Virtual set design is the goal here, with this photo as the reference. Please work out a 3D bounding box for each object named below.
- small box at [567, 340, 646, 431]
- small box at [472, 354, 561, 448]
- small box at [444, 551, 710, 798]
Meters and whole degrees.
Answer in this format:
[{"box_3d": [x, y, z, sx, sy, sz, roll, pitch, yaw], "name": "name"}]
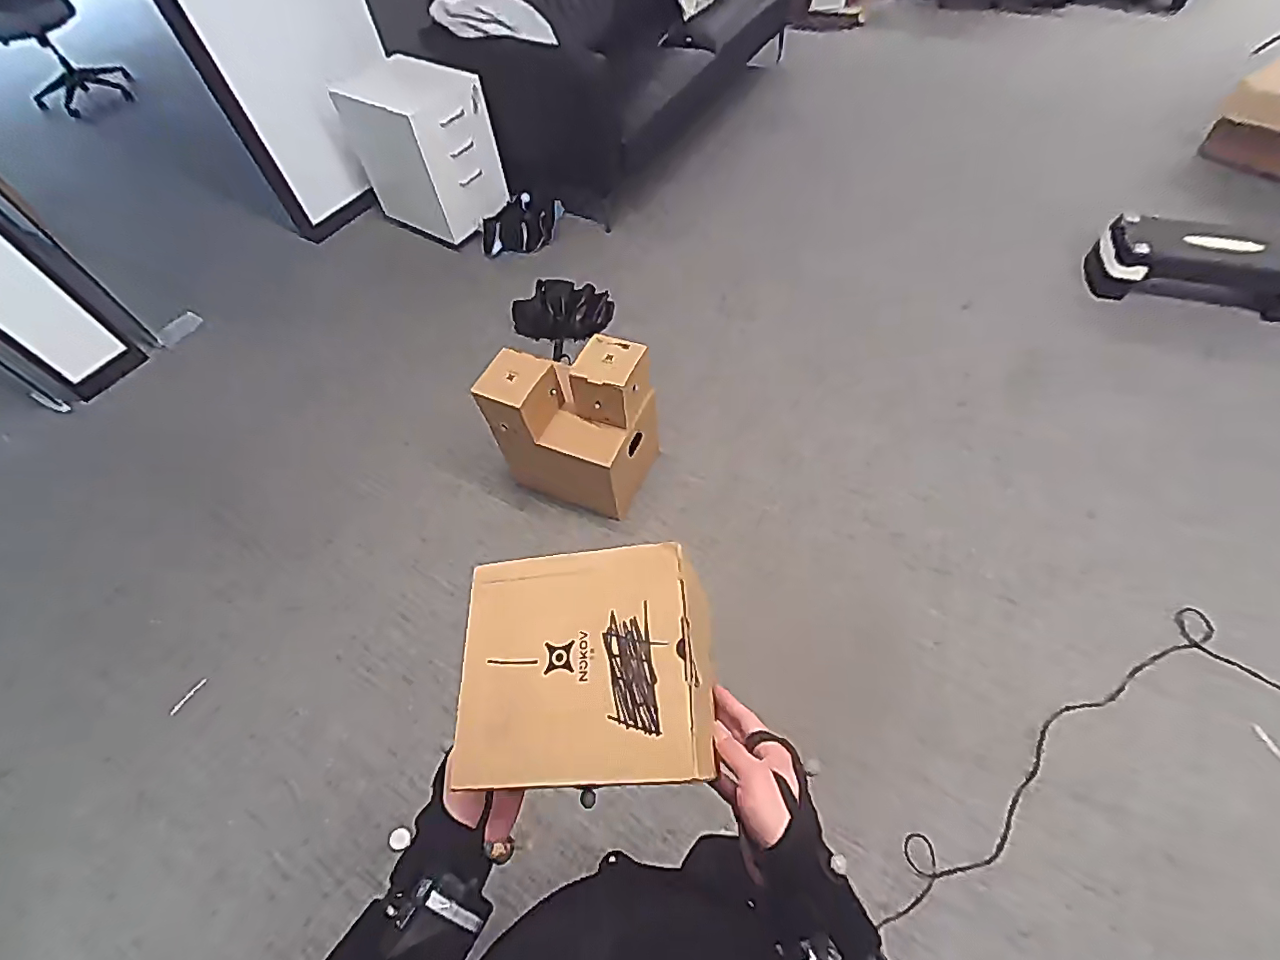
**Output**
[{"box_3d": [-0.087, -0.266, 1.549, 0.168, 0.176, 0.179, 17, 58, 15], "name": "small box"}, {"box_3d": [-0.343, -0.224, 1.545, 0.168, 0.176, 0.179, 19, 64, 18], "name": "small box"}, {"box_3d": [-0.037, 0.173, 0.466, 0.179, 0.176, 0.168, -9, 61, 11], "name": "small box"}]
